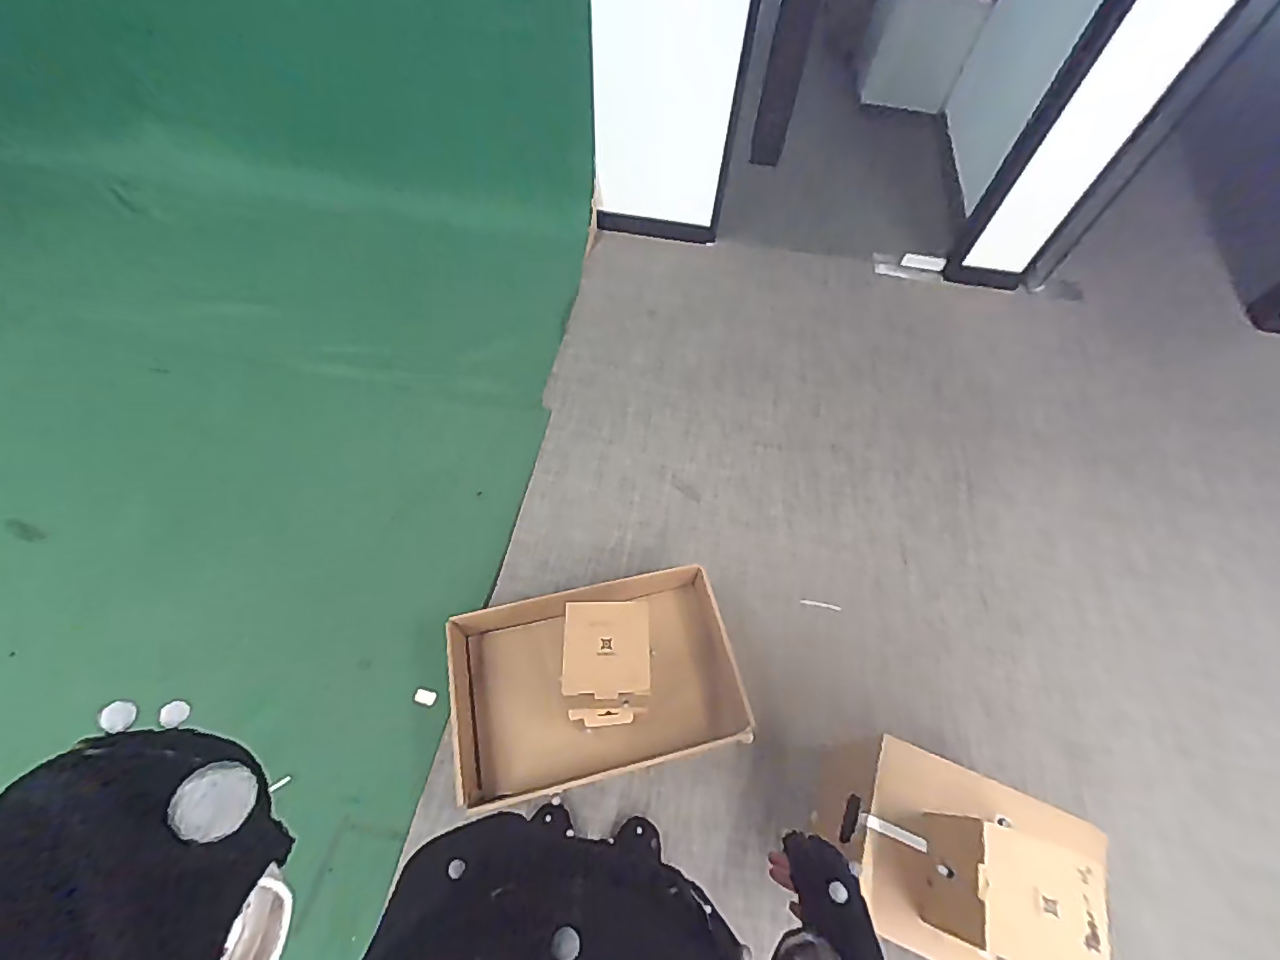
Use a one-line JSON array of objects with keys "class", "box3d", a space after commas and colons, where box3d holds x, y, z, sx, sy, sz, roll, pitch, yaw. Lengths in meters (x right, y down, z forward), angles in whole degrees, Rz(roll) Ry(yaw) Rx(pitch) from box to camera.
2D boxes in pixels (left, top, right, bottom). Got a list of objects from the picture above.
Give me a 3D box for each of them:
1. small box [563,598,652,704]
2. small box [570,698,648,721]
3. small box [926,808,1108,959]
[{"class": "small box", "box3d": [-0.063, 0.352, 1.099, 0.168, 0.176, 0.179, -1, 58, -3]}, {"class": "small box", "box3d": [-0.070, 0.445, 1.231, 0.168, 0.176, 0.179, -5, 59, -4]}, {"class": "small box", "box3d": [0.577, 0.636, 0.852, 0.179, 0.176, 0.168, 16, 62, 7]}]
